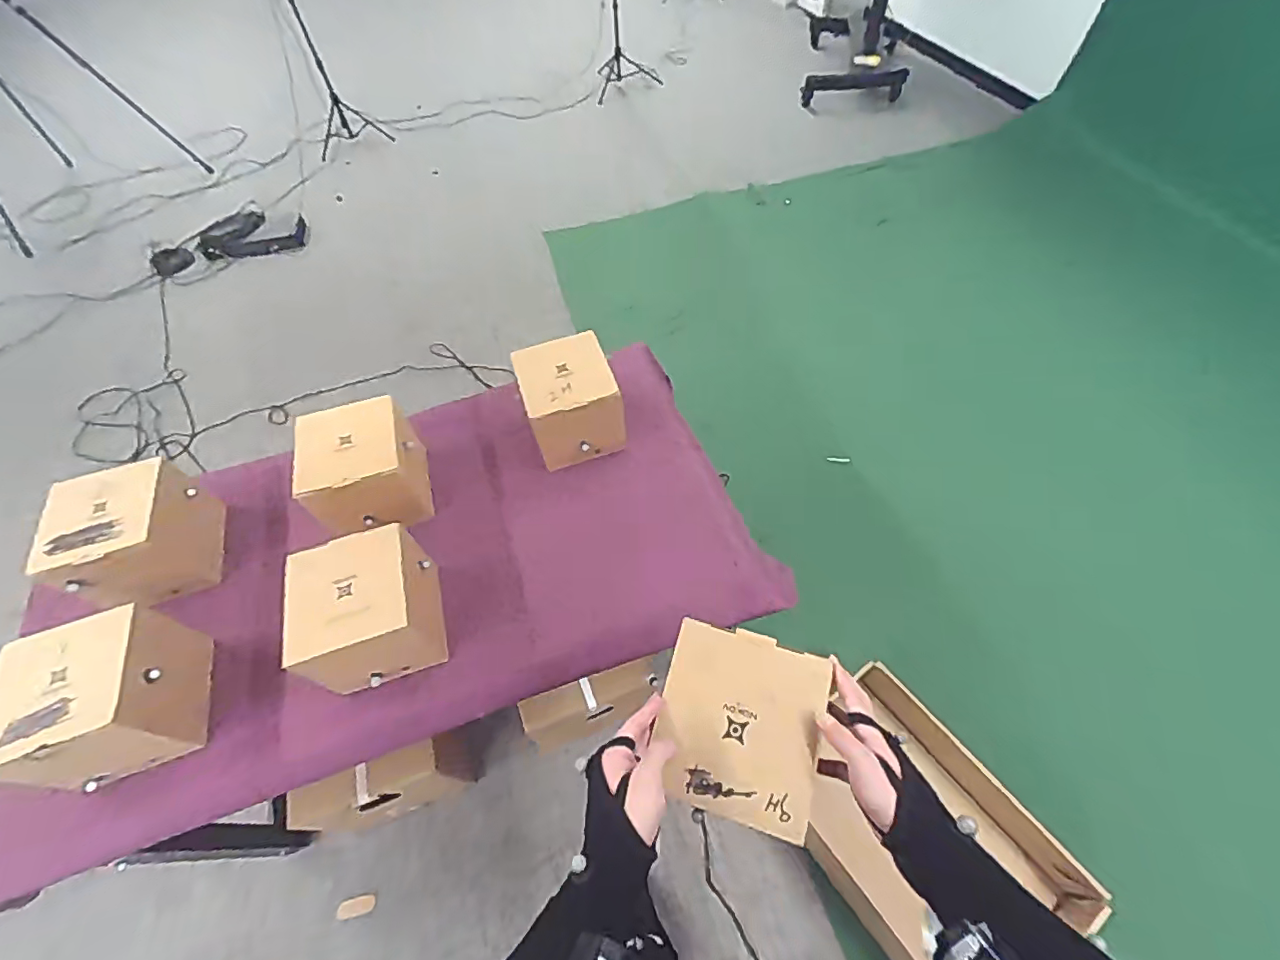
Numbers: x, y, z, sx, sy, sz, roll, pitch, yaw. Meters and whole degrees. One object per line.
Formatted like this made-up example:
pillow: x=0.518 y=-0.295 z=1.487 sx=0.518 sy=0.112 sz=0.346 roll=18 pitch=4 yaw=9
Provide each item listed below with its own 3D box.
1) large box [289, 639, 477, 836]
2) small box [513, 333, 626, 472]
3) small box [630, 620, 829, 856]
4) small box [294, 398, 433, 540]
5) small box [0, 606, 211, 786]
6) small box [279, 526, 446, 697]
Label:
large box: x=-0.636 y=0.608 z=1.358 sx=0.320 sy=0.320 sz=0.408 roll=-18 pitch=56 yaw=-10
small box: x=-0.131 y=-0.145 z=1.037 sx=0.168 sy=0.176 sz=0.179 roll=-18 pitch=58 yaw=-7
small box: x=0.100 y=0.282 z=0.612 sx=0.168 sy=0.176 sz=0.179 roll=14 pitch=67 yaw=14
small box: x=-0.489 y=-0.014 z=0.973 sx=0.168 sy=0.176 sz=0.179 roll=-16 pitch=58 yaw=-8
small box: x=-0.751 y=0.311 z=0.764 sx=0.168 sy=0.176 sz=0.179 roll=-18 pitch=56 yaw=-10
small box: x=-0.410 y=0.203 z=0.821 sx=0.168 sy=0.176 sz=0.179 roll=-17 pitch=56 yaw=-7
